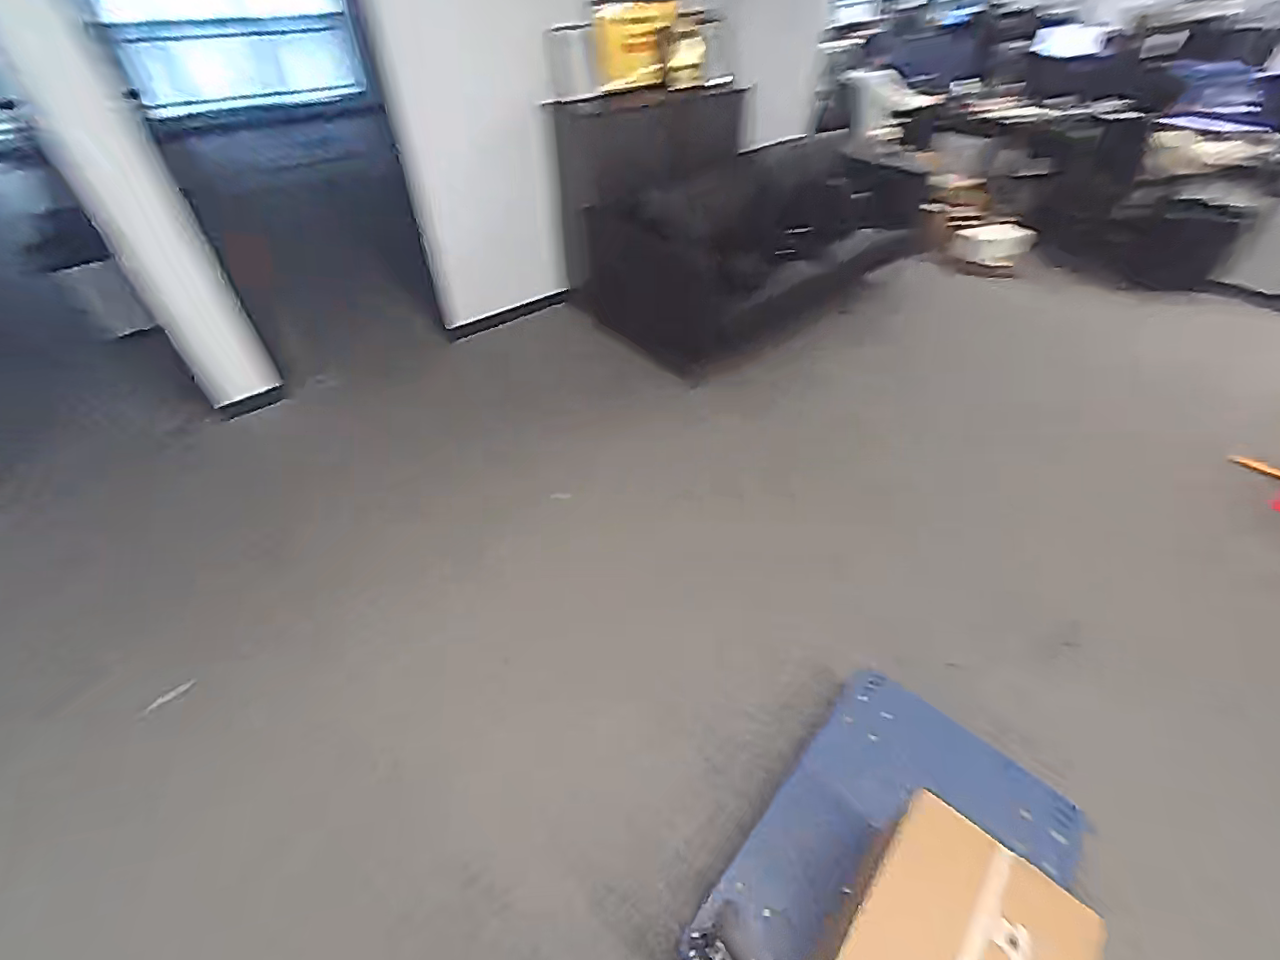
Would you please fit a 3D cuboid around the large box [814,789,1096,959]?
[{"bbox_3d":[0.538,0.890,0.992,0.320,0.320,0.408,33,52,29],"label":"large box"}]
